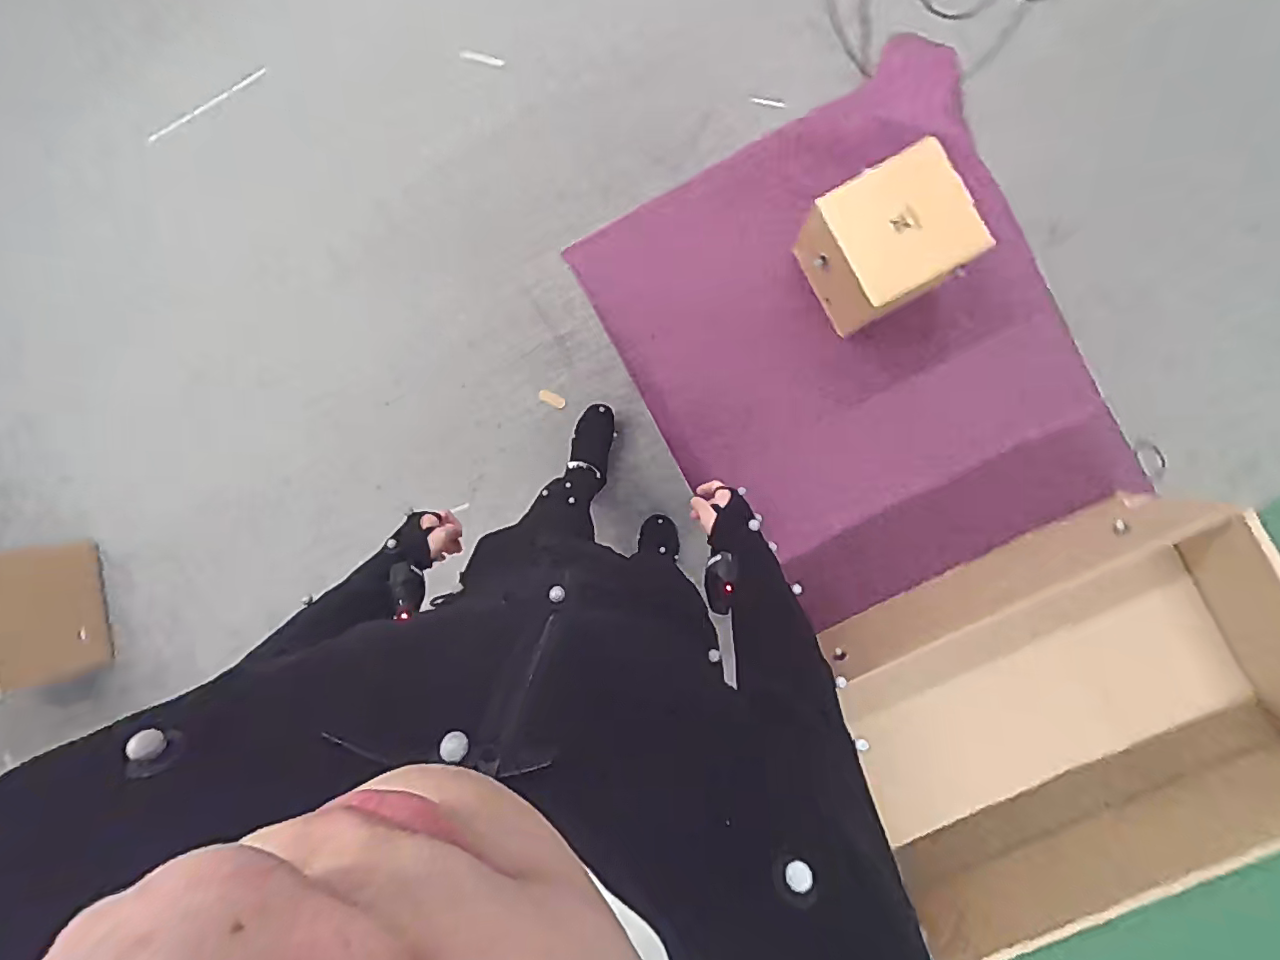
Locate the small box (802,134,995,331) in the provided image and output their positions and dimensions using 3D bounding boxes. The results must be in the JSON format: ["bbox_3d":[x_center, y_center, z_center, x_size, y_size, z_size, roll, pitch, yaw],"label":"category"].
[{"bbox_3d":[0.355,-0.342,0.788,0.179,0.176,0.168,-28,88,4],"label":"small box"}]

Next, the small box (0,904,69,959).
[{"bbox_3d":[-1.441,1.107,1.191,0.168,0.176,0.179,33,92,2],"label":"small box"}]
